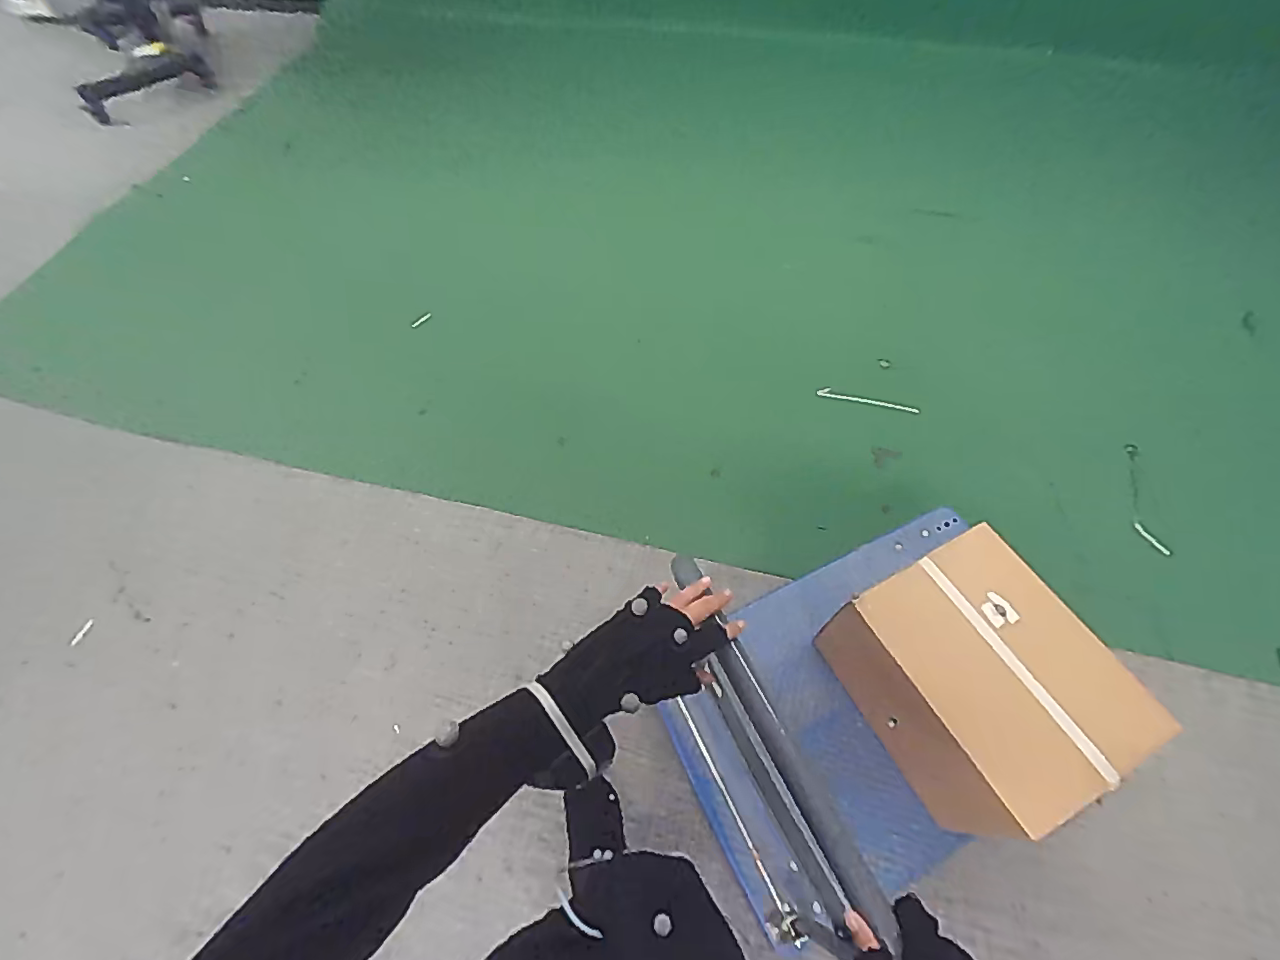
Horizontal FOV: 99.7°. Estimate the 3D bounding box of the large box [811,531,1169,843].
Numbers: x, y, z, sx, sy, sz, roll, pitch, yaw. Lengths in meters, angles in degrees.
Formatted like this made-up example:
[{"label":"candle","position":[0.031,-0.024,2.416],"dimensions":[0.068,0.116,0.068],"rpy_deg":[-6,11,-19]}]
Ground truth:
[{"label":"large box","position":[0.589,0.380,1.009],"dimensions":[0.320,0.320,0.408],"rpy_deg":[-25,60,-11]}]
